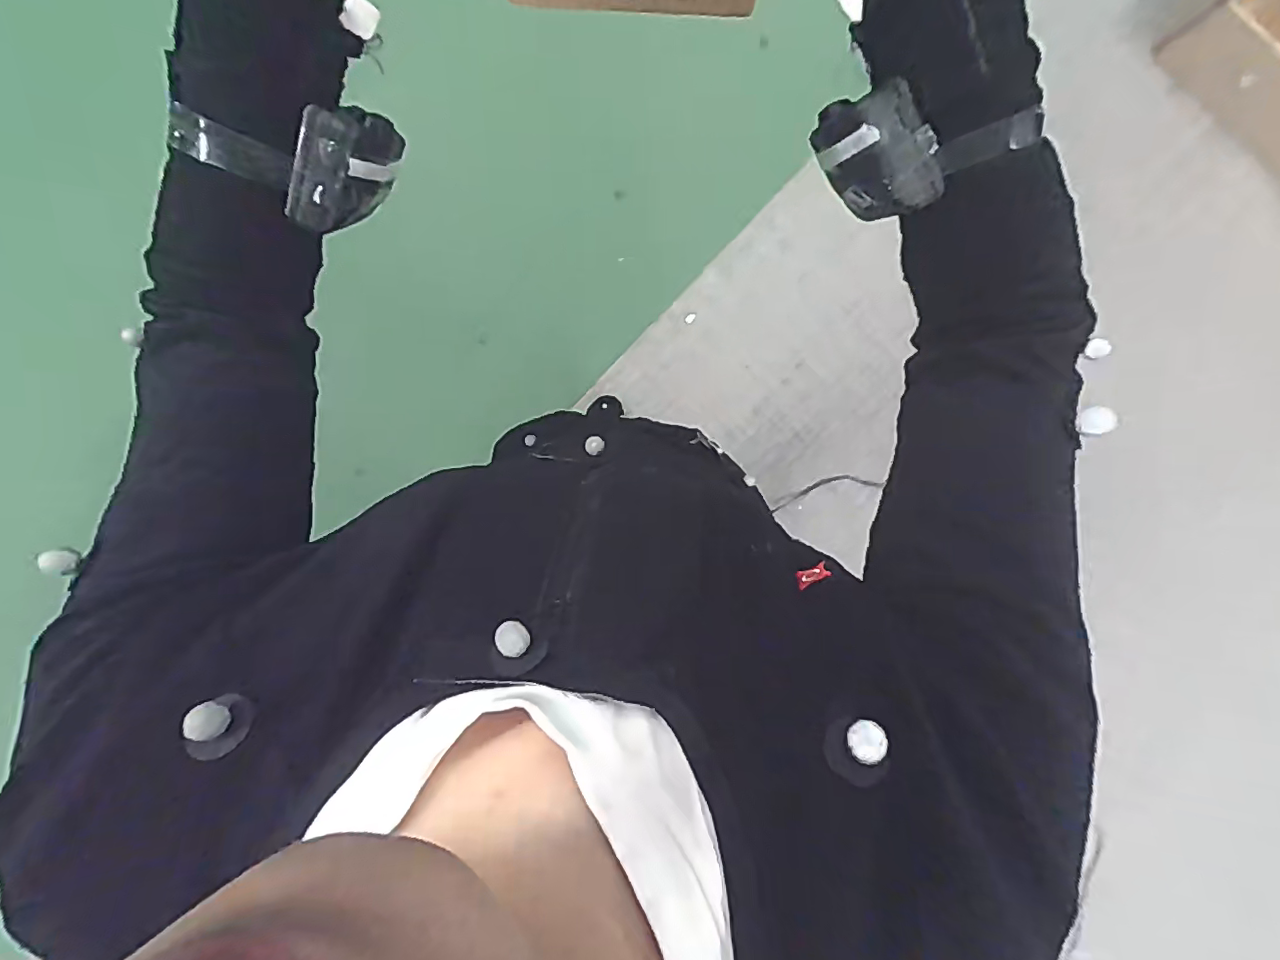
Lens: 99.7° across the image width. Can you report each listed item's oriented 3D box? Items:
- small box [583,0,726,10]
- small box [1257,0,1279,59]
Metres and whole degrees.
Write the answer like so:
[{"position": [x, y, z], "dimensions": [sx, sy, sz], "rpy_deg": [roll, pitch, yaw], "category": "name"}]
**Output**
[{"position": [0.000, -0.406, 0.294], "dimensions": [0.179, 0.176, 0.168], "rpy_deg": [3, 94, 0], "category": "small box"}, {"position": [1.544, -1.057, 1.184], "dimensions": [0.179, 0.176, 0.168], "rpy_deg": [43, 96, -8], "category": "small box"}]
